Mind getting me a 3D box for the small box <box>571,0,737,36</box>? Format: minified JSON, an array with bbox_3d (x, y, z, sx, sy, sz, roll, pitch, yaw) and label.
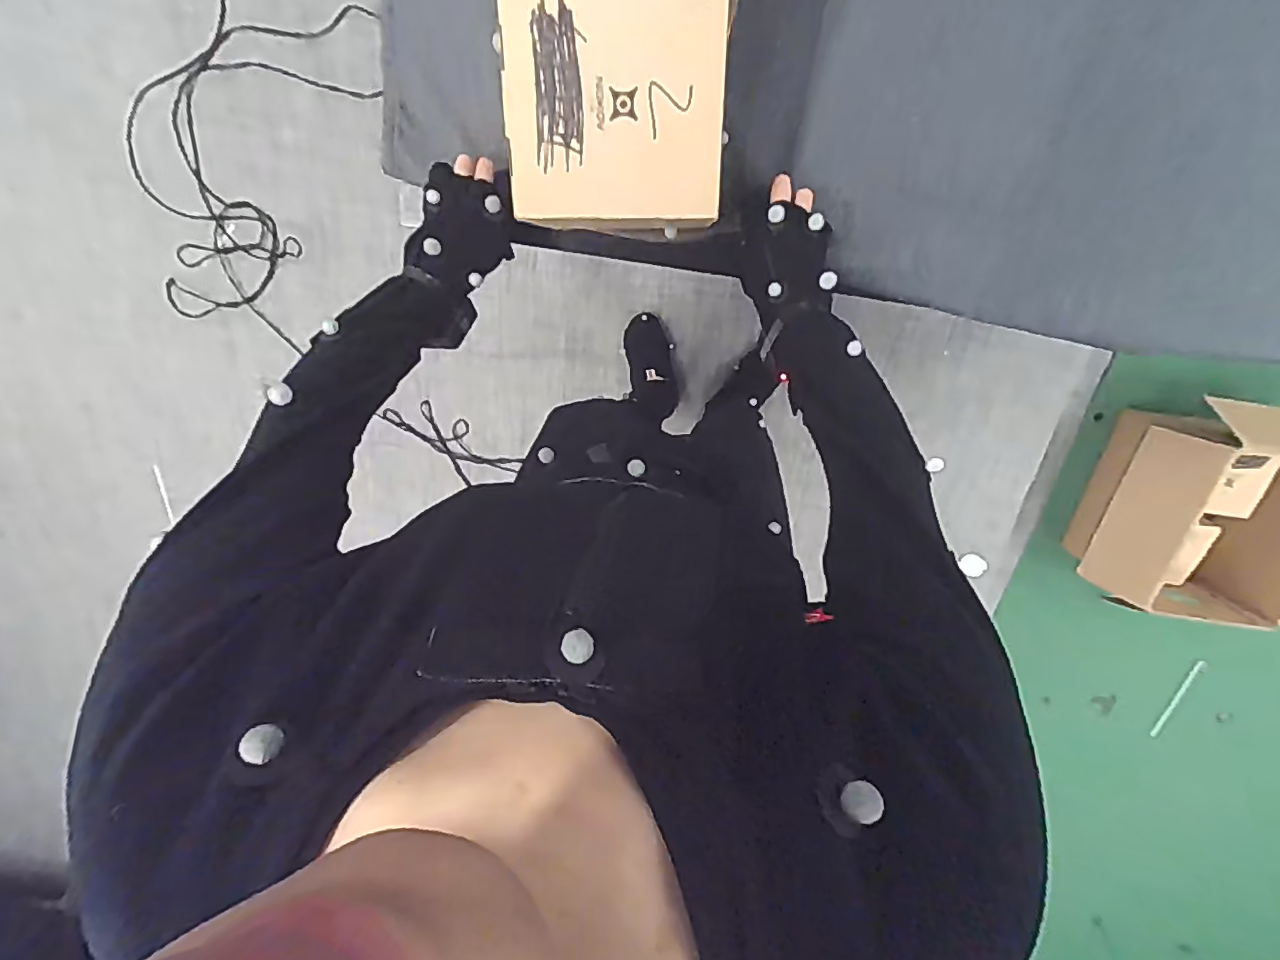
[{"bbox_3d":[0.017,-0.492,0.428,0.179,0.176,0.168,14,113,-2],"label":"small box"}]
